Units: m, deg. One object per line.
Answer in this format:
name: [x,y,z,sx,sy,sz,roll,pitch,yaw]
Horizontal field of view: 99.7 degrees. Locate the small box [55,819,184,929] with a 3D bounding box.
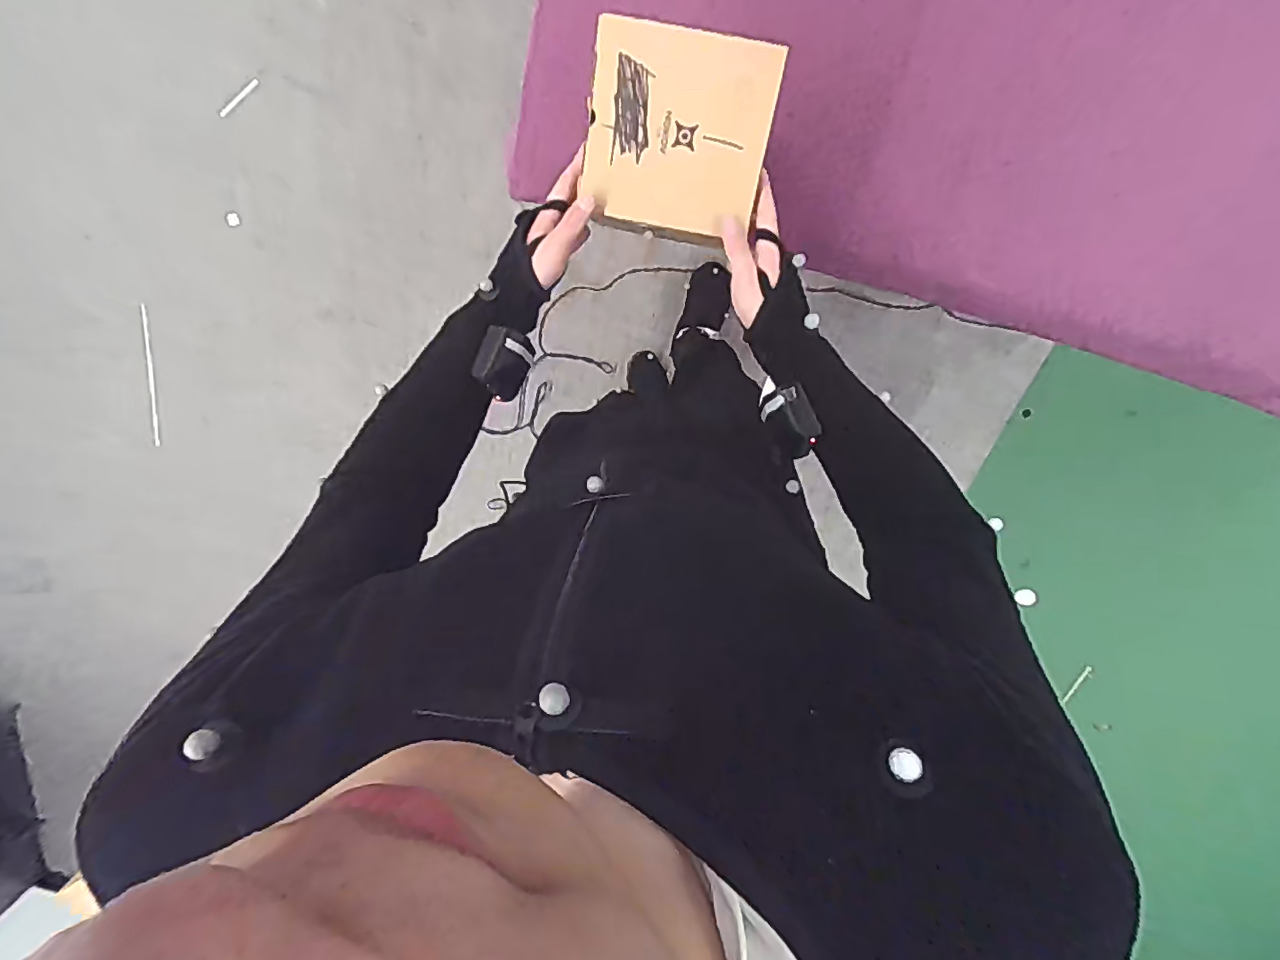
small box: [-1.441,1.096,1.510,0.179,0.176,0.168,-33,107,18]

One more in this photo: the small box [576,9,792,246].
small box: [0.042,-0.357,0.583,0.179,0.176,0.168,11,111,0]

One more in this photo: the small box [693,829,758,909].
small box: [0.272,1.253,1.729,0.179,0.176,0.168,-12,110,11]

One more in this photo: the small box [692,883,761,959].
small box: [0.255,1.314,1.578,0.179,0.176,0.168,-10,112,11]
